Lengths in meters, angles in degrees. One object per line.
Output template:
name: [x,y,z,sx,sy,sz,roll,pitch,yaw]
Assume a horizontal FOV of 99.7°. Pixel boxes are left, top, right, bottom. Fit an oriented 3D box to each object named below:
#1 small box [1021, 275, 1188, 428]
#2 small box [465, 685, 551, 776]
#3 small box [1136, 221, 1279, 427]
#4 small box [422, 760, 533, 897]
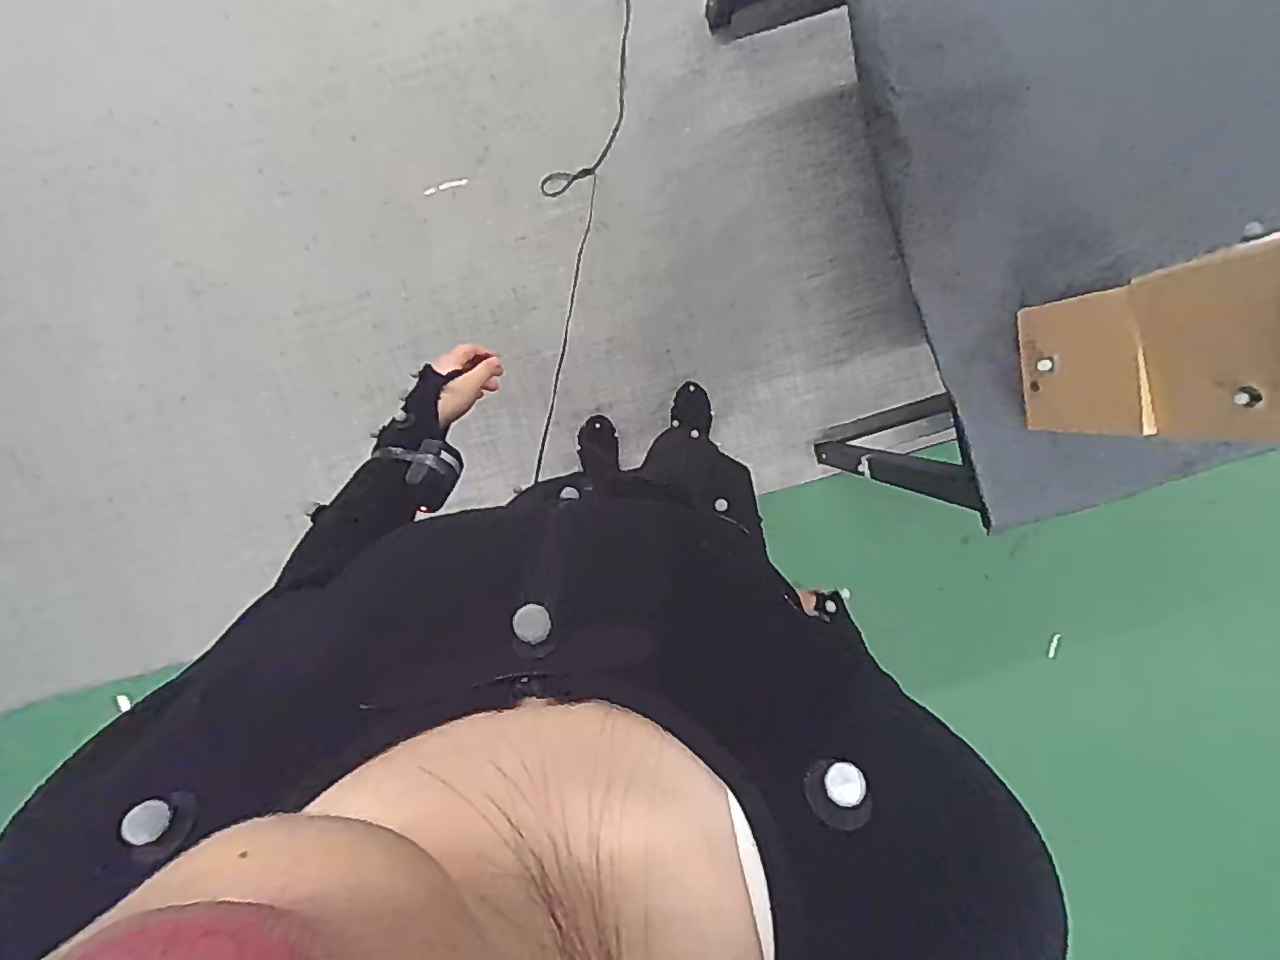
small box: [0.608,-0.161,0.653,0.179,0.176,0.168,-11,97,-1]
small box: [-0.358,0.695,1.491,0.179,0.176,0.168,-12,98,0]
small box: [0.615,-0.151,0.491,0.168,0.176,0.179,-19,97,-2]
small box: [-0.337,0.739,1.166,0.179,0.176,0.168,-13,99,0]
